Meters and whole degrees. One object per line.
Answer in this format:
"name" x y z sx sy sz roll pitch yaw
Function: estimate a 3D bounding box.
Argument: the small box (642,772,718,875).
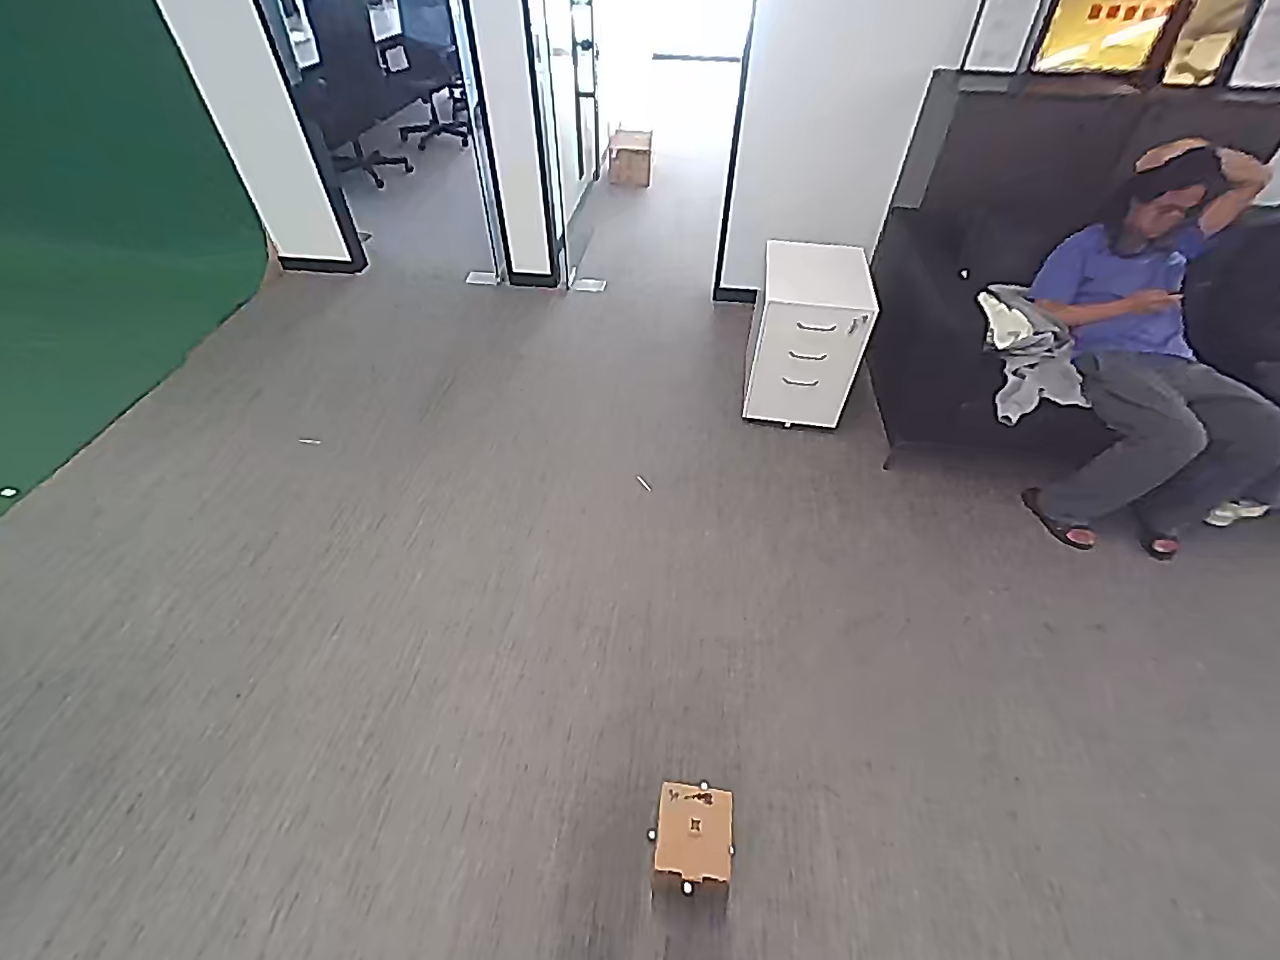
"small box" 0.094 0.825 1.293 0.168 0.176 0.179 5 47 2
